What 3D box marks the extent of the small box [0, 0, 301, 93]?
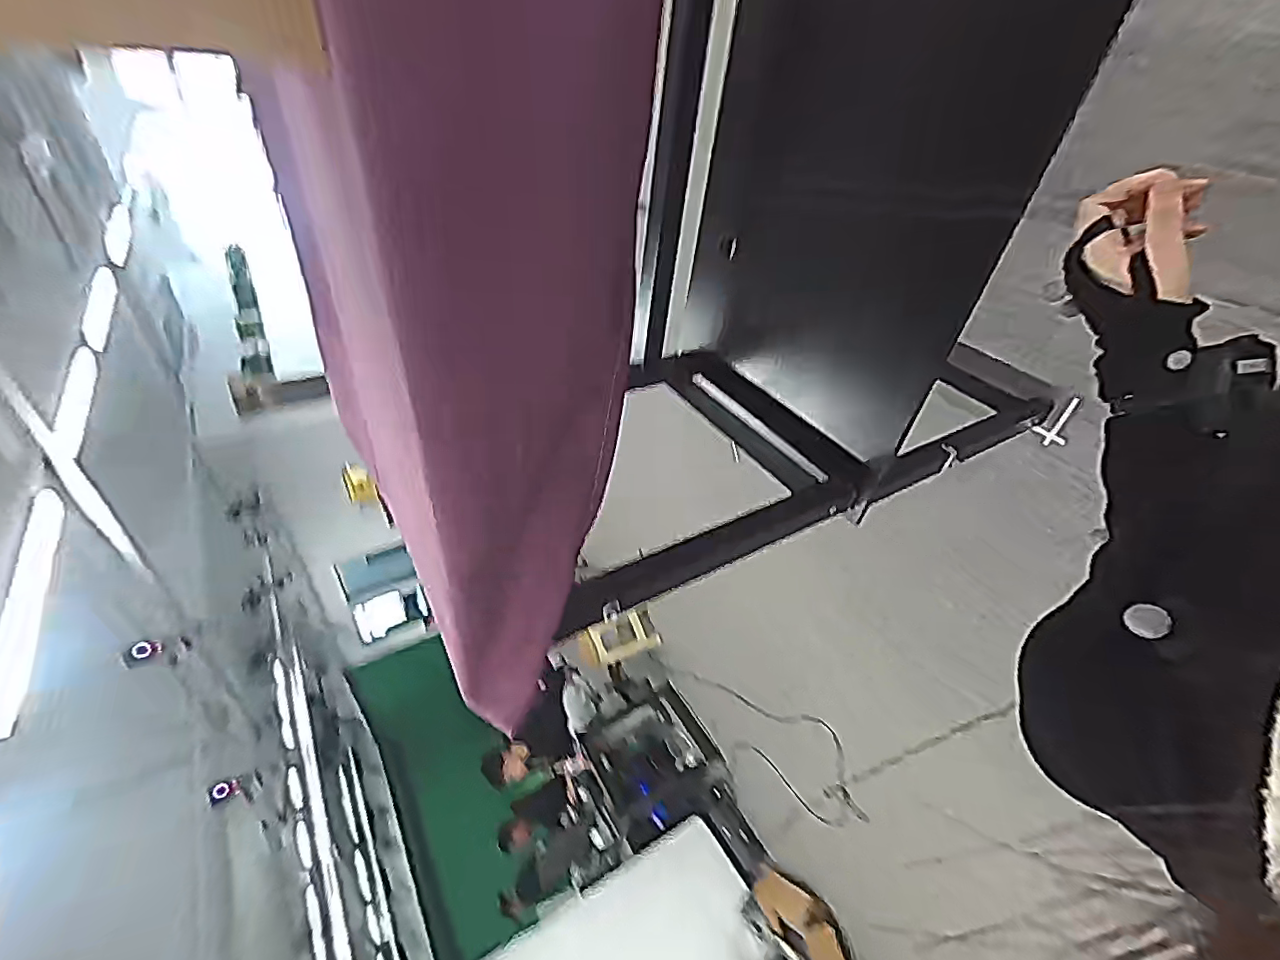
[{"bbox_3d":[-0.290,-0.302,0.267,0.179,0.176,0.168,47,144,39],"label":"small box"}]
